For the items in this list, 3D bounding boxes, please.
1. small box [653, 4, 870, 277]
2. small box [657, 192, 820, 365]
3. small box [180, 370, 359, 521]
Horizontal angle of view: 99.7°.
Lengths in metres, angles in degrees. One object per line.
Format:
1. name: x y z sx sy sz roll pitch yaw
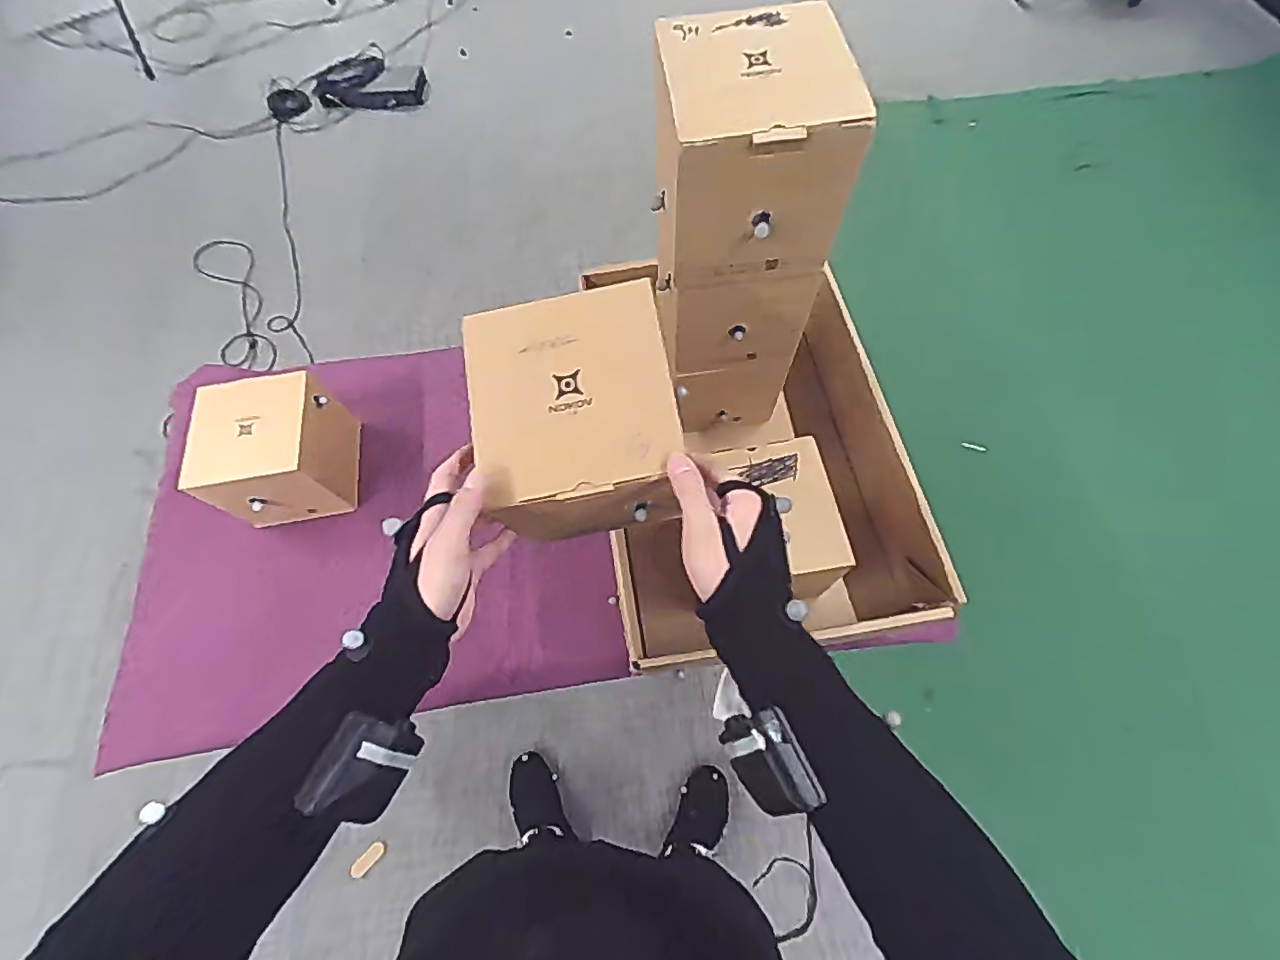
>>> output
1. small box: 0.106 -0.328 0.550 0.168 0.176 0.179 -6 67 -1
2. small box: 0.115 -0.264 0.701 0.168 0.176 0.179 -7 66 -1
3. small box: -0.569 -0.045 0.859 0.168 0.176 0.179 -10 64 -3
